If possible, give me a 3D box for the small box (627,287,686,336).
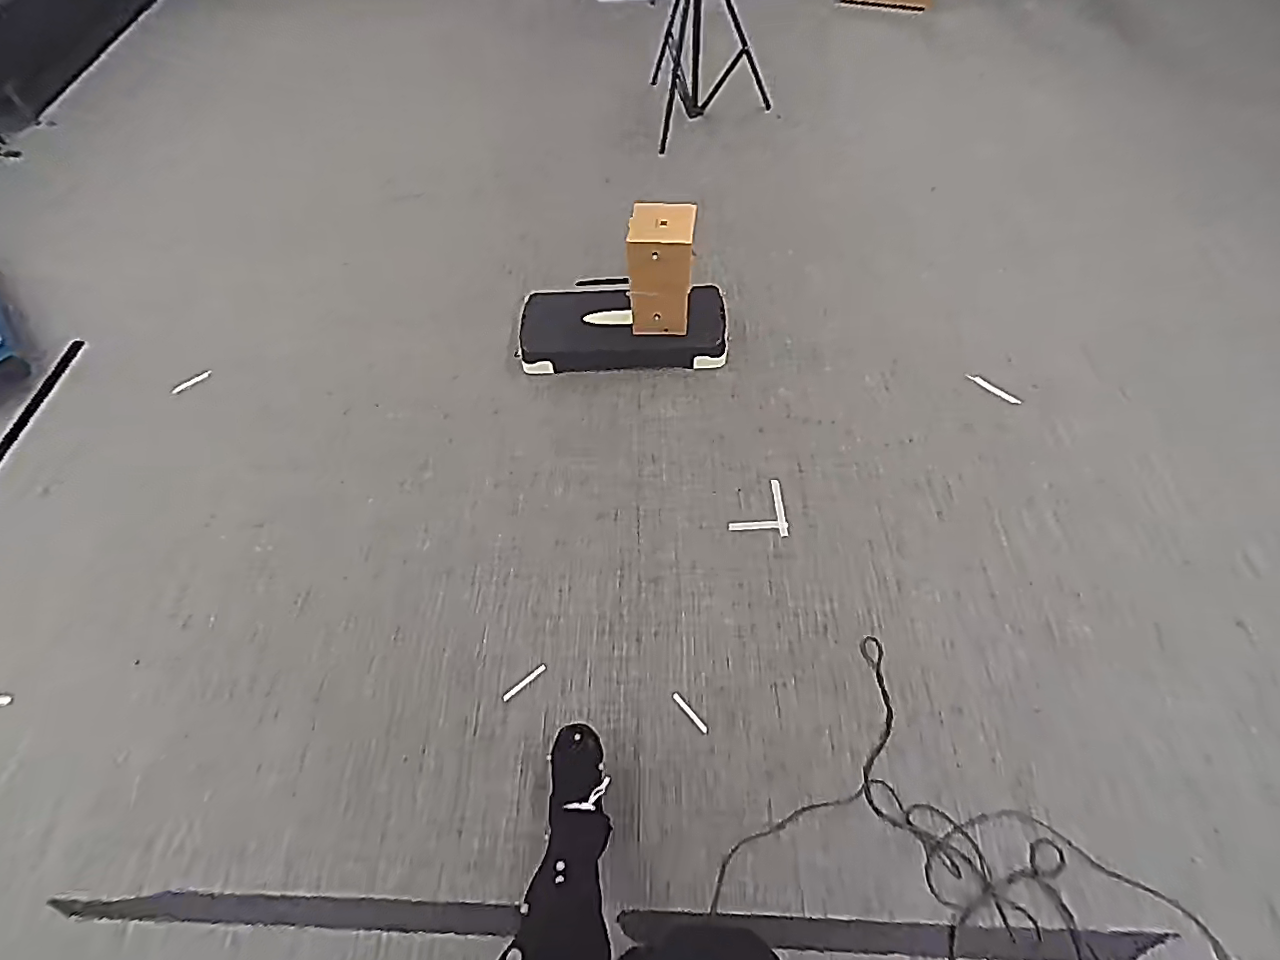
[{"bbox_3d":[0.056,-0.562,1.665,0.168,0.176,0.179,2,60,5],"label":"small box"}]

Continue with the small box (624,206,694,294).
[{"bbox_3d":[0.058,-0.643,1.523,0.179,0.176,0.168,4,61,7],"label":"small box"}]
